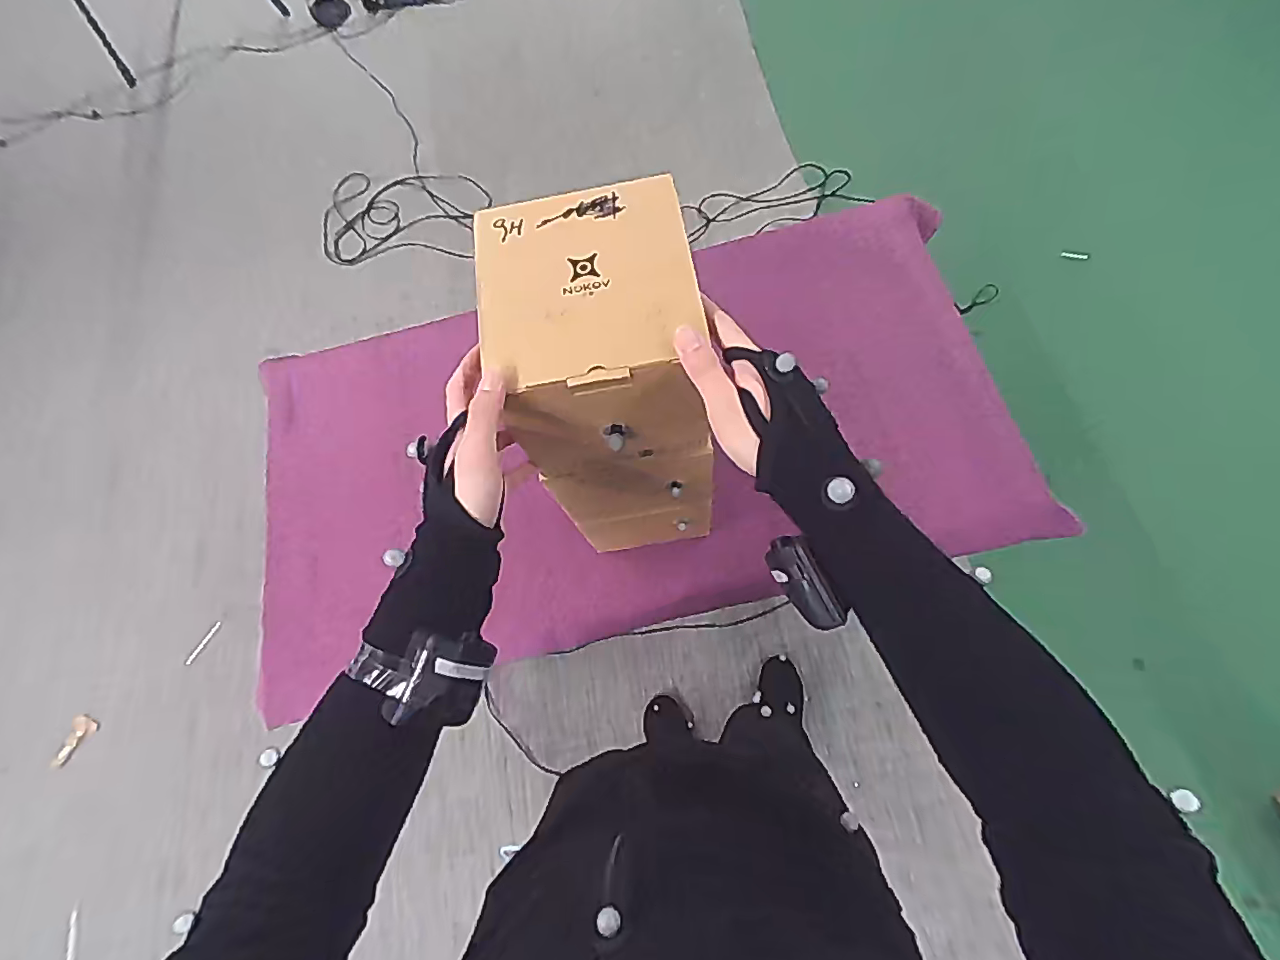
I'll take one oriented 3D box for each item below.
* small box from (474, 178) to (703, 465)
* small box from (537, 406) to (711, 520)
[{"bbox_3d":[-0.036,-0.123,0.485,0.168,0.176,0.179,-10,70,2],"label":"small box"},{"bbox_3d":[-0.018,-0.061,0.634,0.179,0.176,0.168,-10,69,3],"label":"small box"}]
